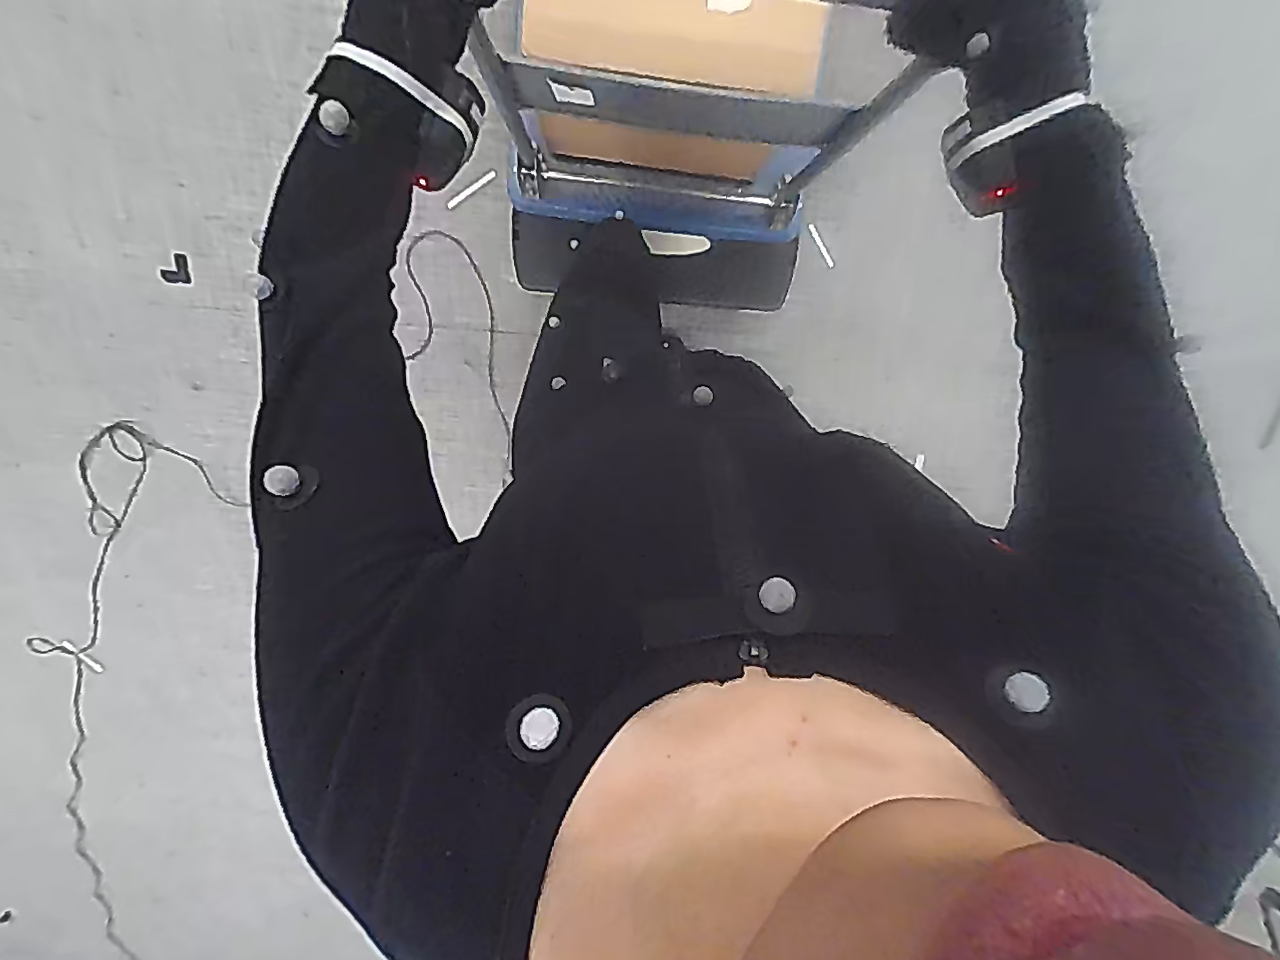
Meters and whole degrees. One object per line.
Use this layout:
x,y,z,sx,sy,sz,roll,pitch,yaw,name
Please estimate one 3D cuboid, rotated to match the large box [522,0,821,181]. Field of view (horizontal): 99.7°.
0.039,-0.711,0.856,0.408,0.320,0.320,5,100,-5,large box
